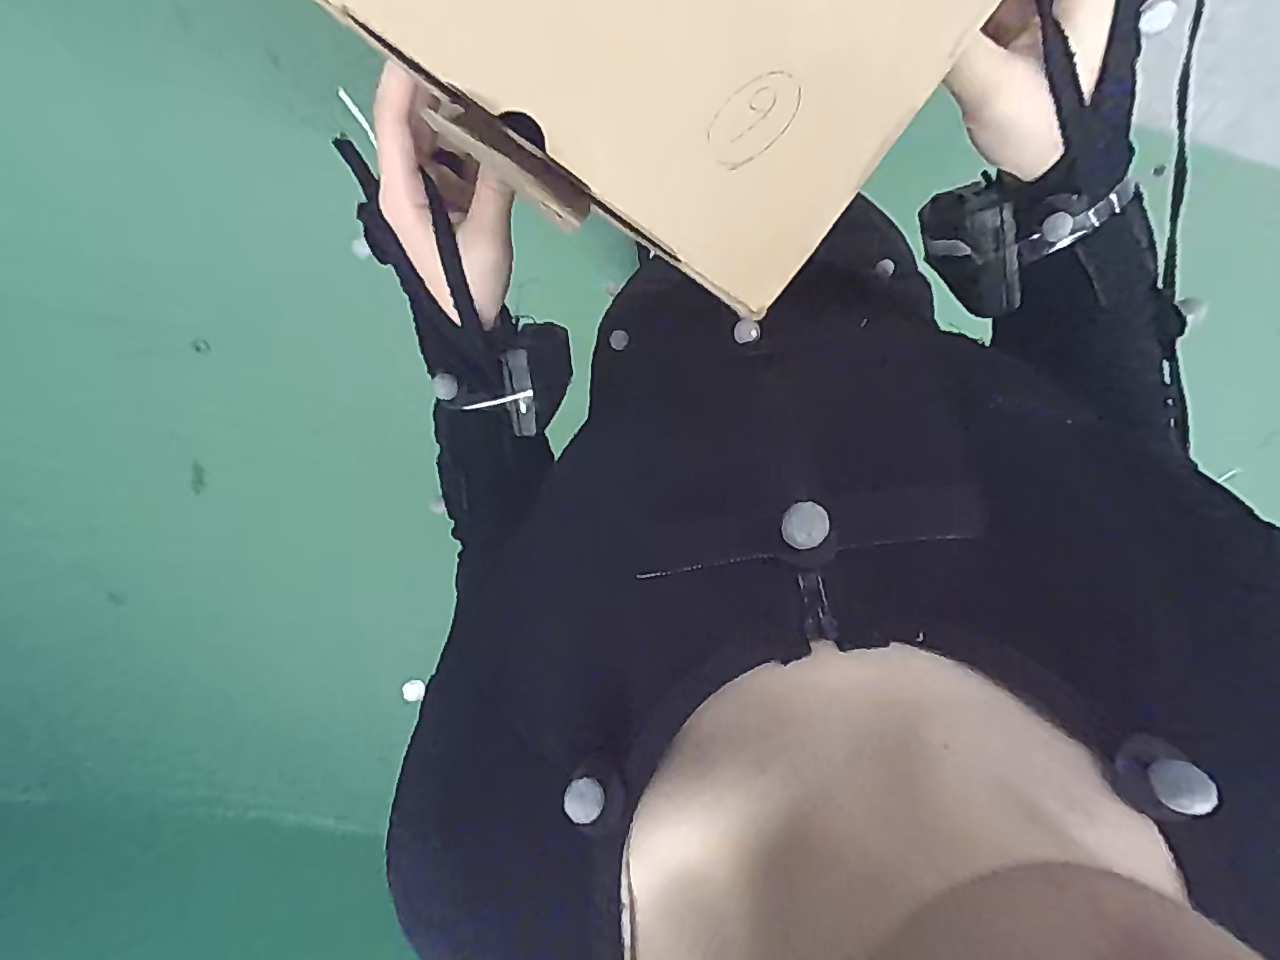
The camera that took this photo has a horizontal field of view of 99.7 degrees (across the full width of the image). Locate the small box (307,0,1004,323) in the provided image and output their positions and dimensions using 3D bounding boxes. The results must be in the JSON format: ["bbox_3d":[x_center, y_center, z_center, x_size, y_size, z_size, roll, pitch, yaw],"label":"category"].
[{"bbox_3d":[0.024,-0.190,0.201,0.168,0.176,0.179,32,114,-12],"label":"small box"}]
